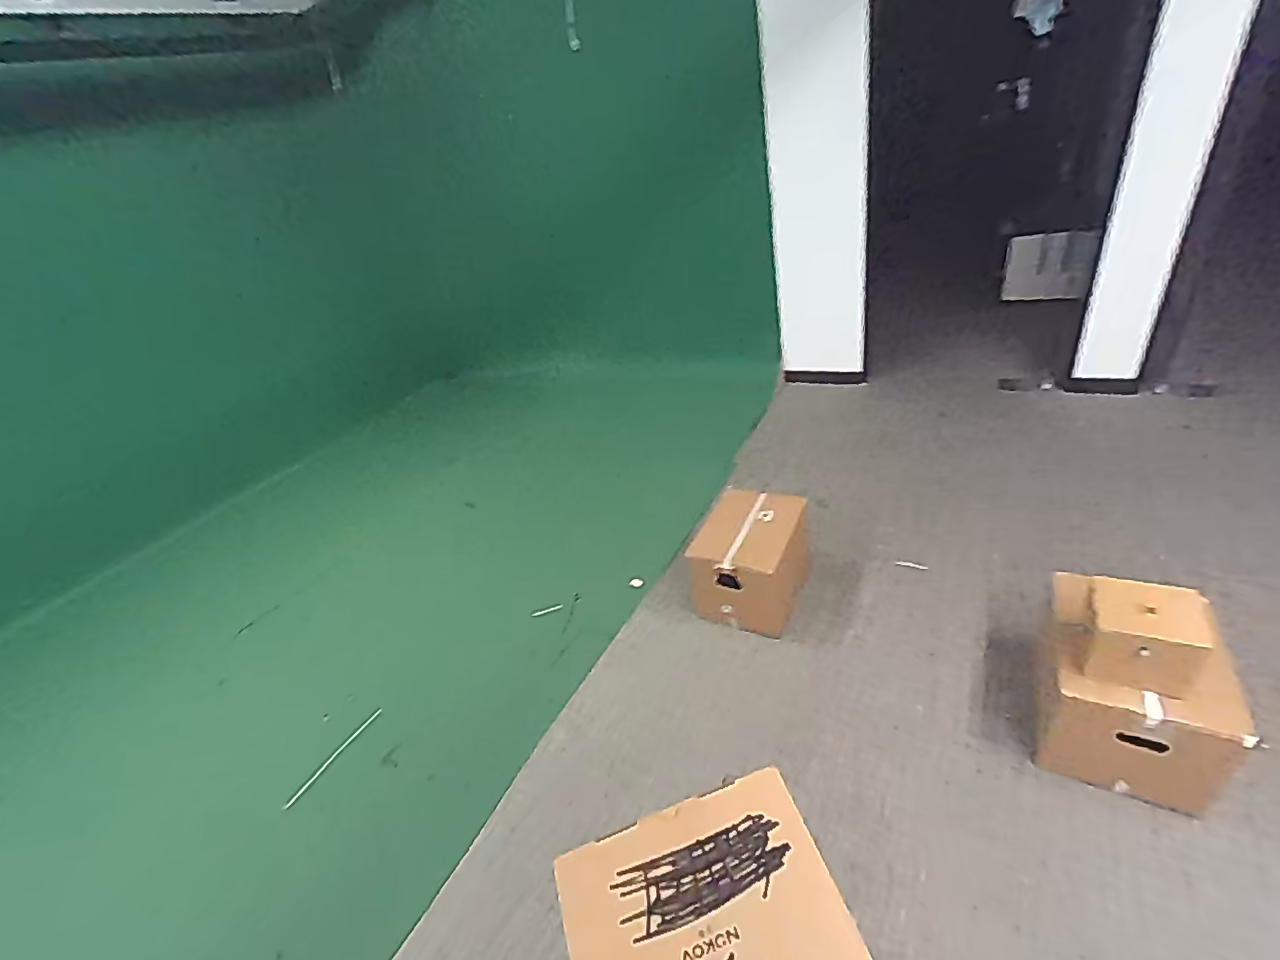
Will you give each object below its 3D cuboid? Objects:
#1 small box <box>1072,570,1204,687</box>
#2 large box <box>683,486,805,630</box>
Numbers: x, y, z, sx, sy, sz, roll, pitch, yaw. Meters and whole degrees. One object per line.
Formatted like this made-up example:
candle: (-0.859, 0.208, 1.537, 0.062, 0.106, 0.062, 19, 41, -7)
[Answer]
small box: (1.086, 0.328, 1.195, 0.179, 0.176, 0.168, 6, 39, 31)
large box: (0.394, 0.271, 1.970, 0.320, 0.320, 0.408, 8, 39, 30)
